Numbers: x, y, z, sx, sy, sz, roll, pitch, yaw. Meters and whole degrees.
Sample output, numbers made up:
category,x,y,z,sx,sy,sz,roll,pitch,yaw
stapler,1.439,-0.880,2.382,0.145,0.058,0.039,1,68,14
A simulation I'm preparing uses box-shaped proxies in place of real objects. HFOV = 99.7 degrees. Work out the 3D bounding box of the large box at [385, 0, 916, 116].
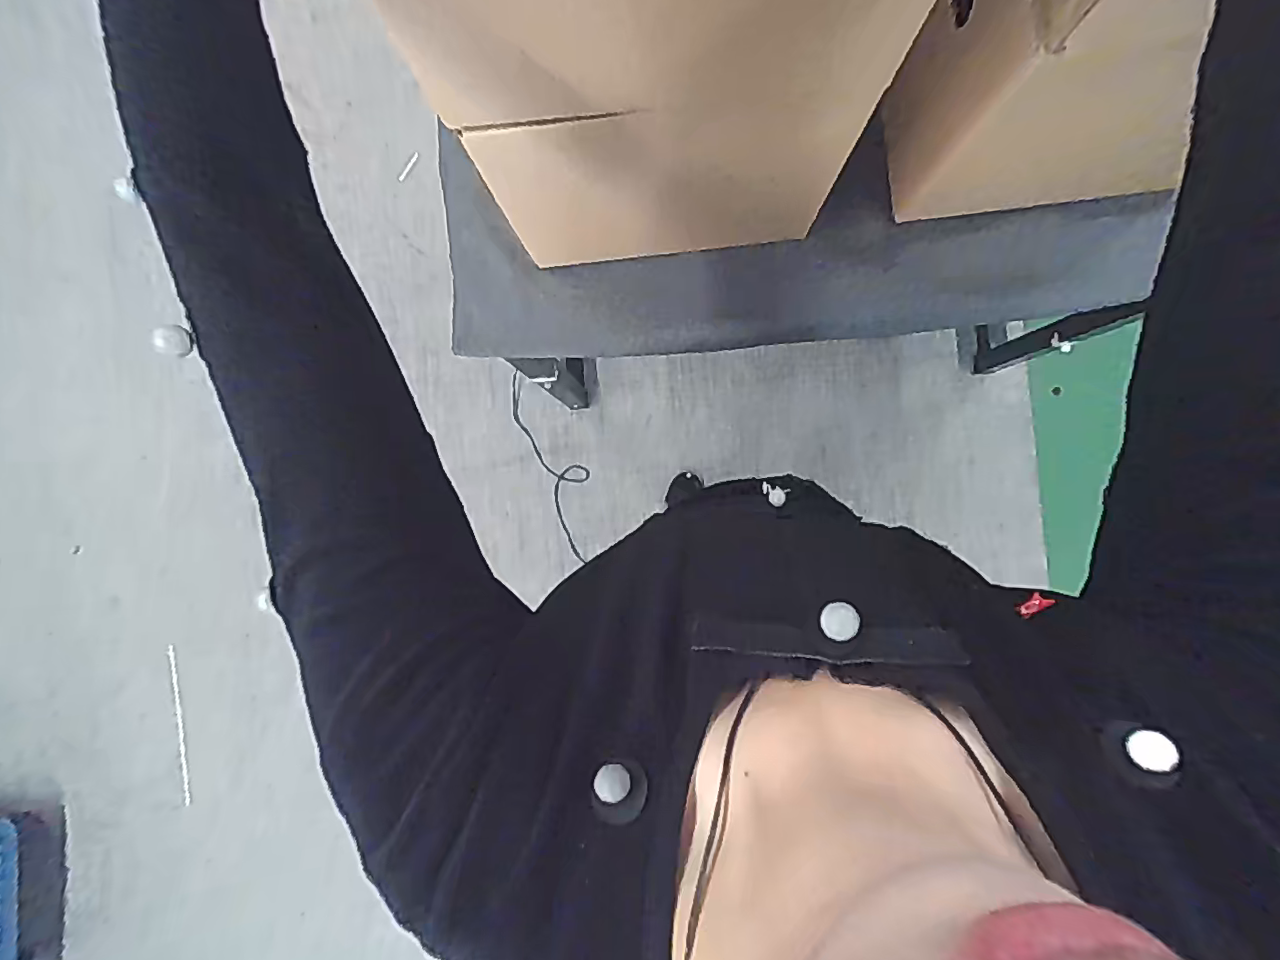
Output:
category,x,y,z,sx,sy,sz,roll,pitch,yaw
large box,0.002,-0.500,0.345,0.408,0.320,0.320,-4,90,1
